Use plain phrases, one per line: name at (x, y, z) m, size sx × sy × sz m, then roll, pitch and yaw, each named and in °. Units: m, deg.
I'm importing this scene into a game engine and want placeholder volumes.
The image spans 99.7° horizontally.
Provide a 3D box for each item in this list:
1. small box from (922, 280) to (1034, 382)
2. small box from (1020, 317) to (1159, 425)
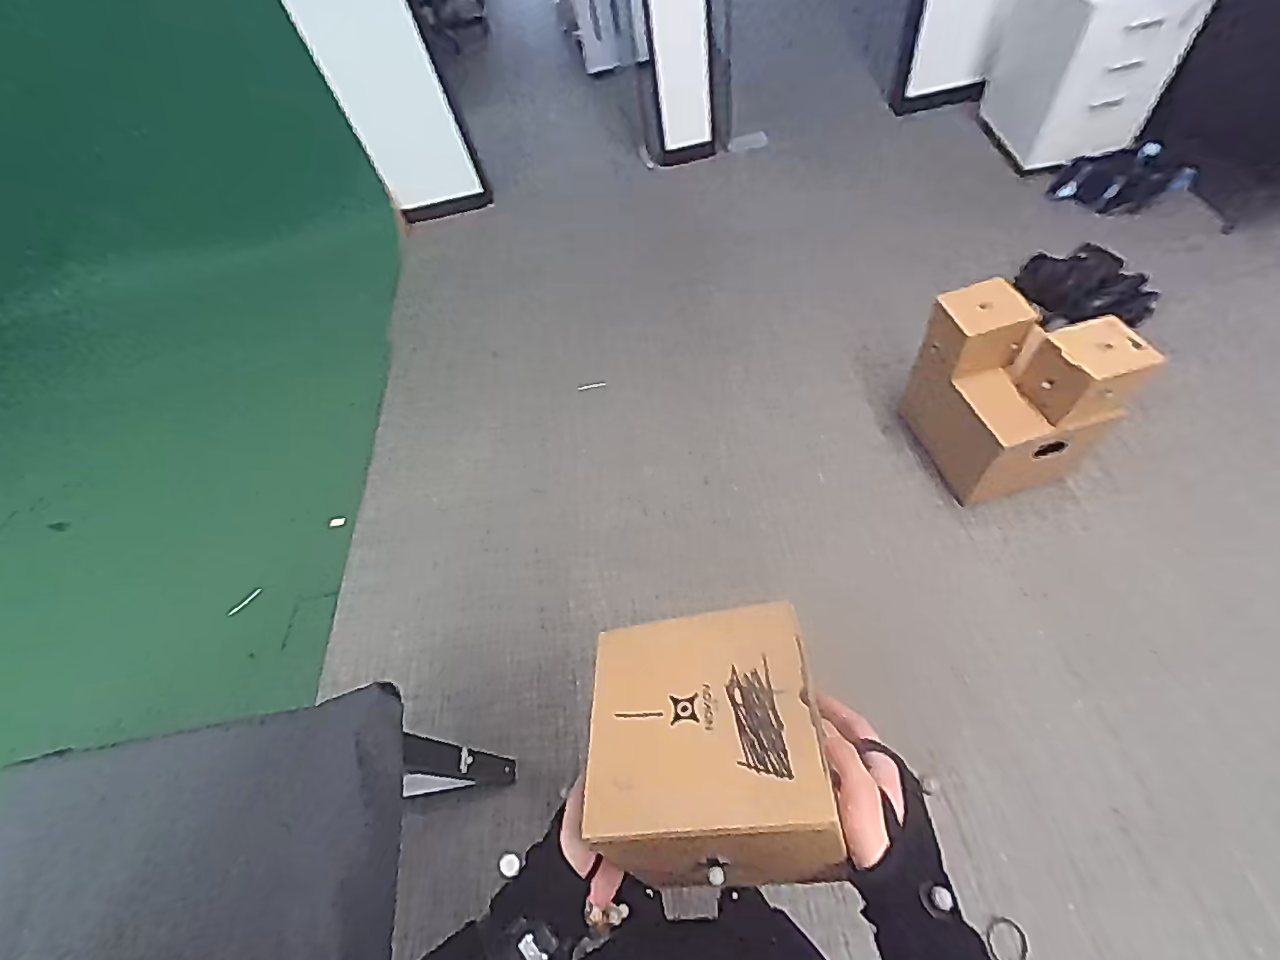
small box at (0.888, -0.392, 1.441) m, size 0.179 × 0.176 × 0.168 m, roll -18°, pitch 55°, yaw 4°
small box at (1.071, -0.258, 1.315) m, size 0.179 × 0.176 × 0.168 m, roll -18°, pitch 56°, yaw -1°
